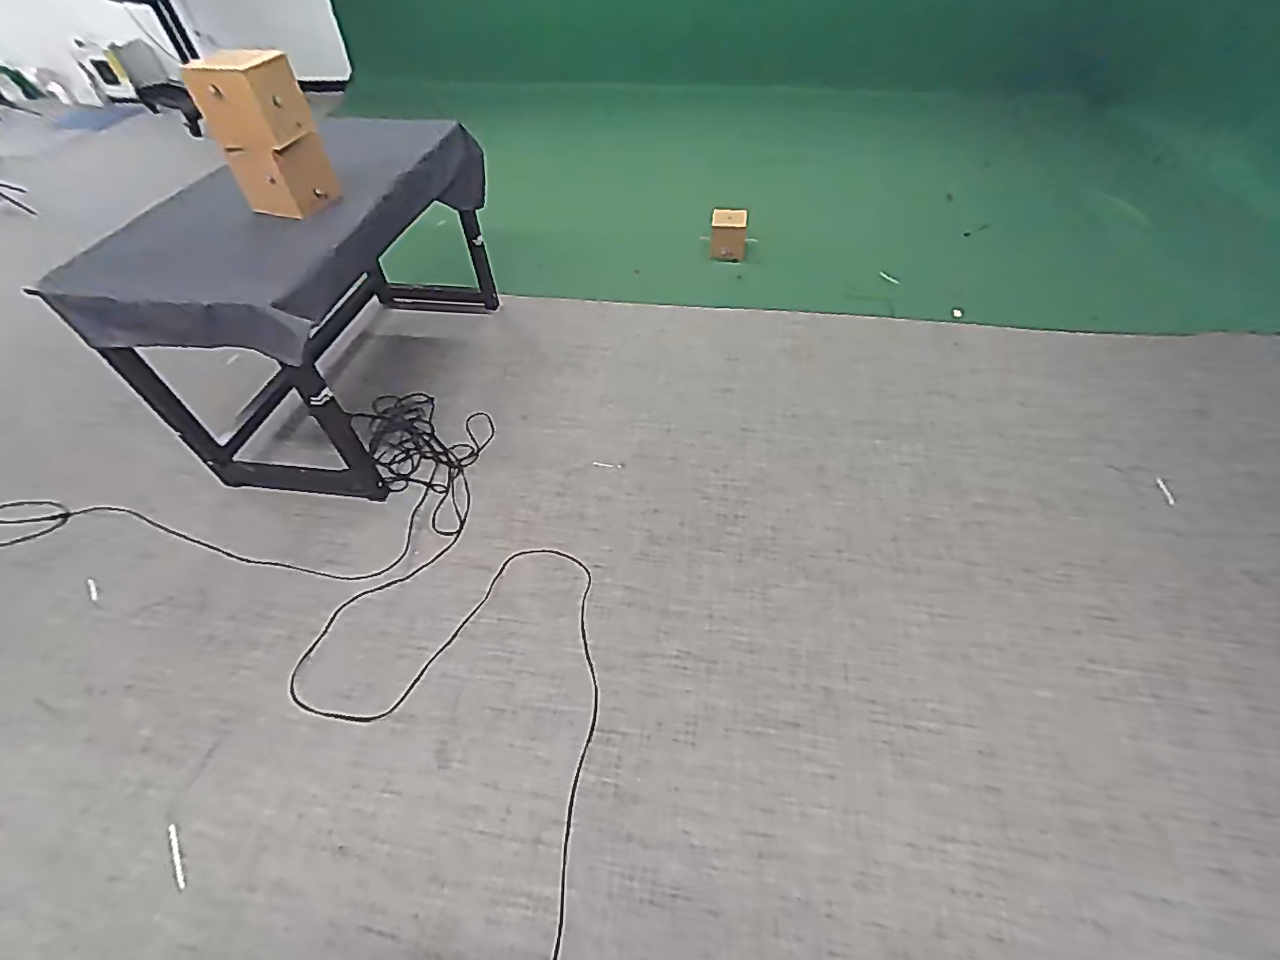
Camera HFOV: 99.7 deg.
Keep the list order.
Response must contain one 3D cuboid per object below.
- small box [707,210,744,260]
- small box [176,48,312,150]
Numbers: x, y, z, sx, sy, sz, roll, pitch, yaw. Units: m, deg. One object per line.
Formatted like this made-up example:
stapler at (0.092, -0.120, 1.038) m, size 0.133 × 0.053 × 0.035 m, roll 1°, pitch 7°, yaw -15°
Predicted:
small box at (0.426, -1.226, 2.701) m, size 0.168 × 0.176 × 0.179 m, roll 5°, pitch 51°, yaw 7°
small box at (-0.959, -0.937, 1.334) m, size 0.179 × 0.176 × 0.168 m, roll 7°, pitch 51°, yaw 8°
